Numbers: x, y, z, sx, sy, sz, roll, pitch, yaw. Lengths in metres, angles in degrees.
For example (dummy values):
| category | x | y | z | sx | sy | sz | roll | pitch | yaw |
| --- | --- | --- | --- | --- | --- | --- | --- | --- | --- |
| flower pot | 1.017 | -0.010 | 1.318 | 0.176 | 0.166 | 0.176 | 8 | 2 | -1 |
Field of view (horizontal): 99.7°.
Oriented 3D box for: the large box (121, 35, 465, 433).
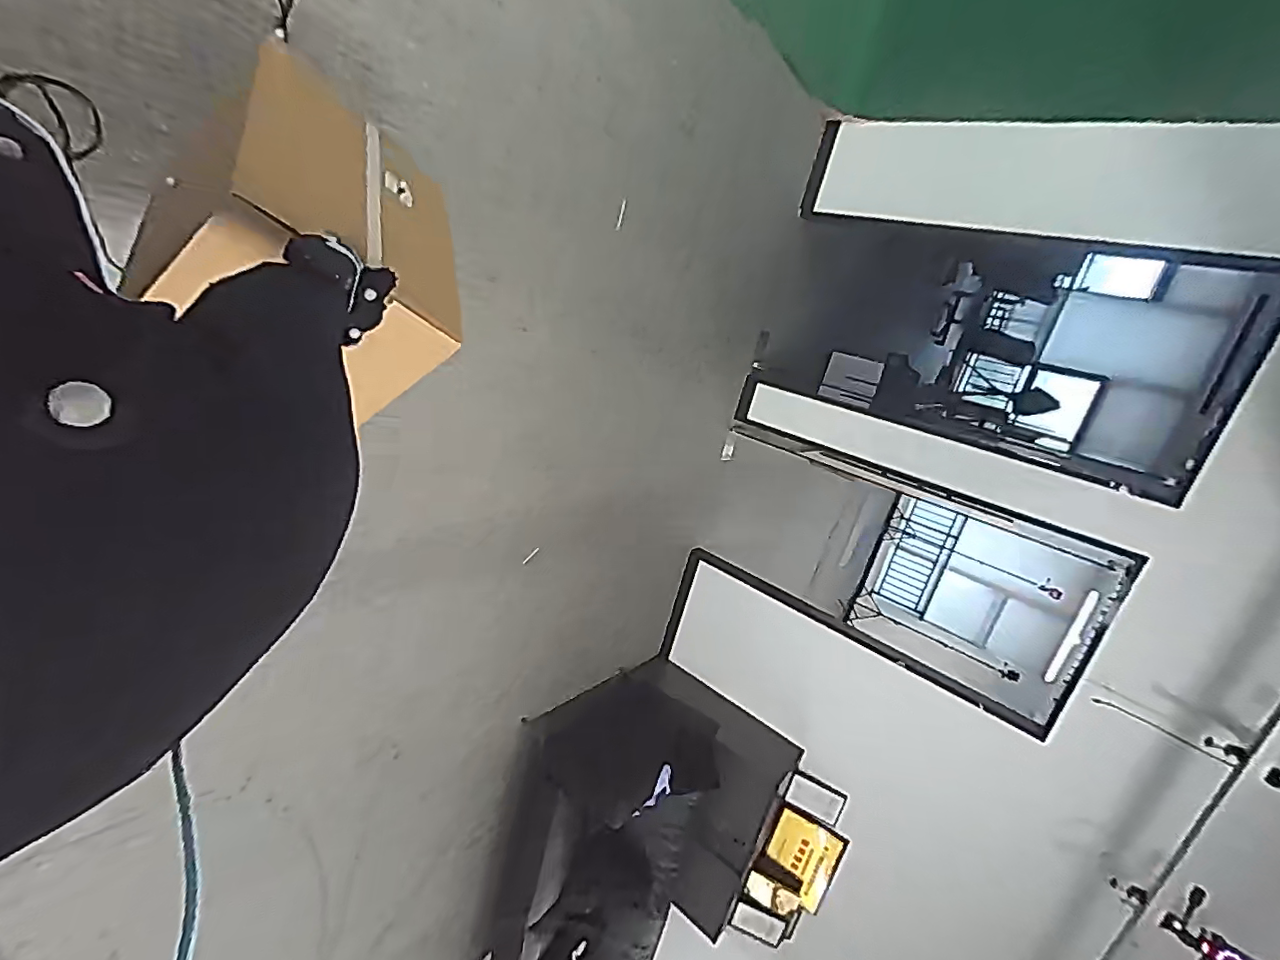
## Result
| category | x | y | z | sx | sy | sz | roll | pitch | yaw |
| --- | --- | --- | --- | --- | --- | --- | --- | --- | --- |
| large box | -0.513 | -0.350 | 0.842 | 0.320 | 0.408 | 0.320 | -29 | 148 | 21 |
